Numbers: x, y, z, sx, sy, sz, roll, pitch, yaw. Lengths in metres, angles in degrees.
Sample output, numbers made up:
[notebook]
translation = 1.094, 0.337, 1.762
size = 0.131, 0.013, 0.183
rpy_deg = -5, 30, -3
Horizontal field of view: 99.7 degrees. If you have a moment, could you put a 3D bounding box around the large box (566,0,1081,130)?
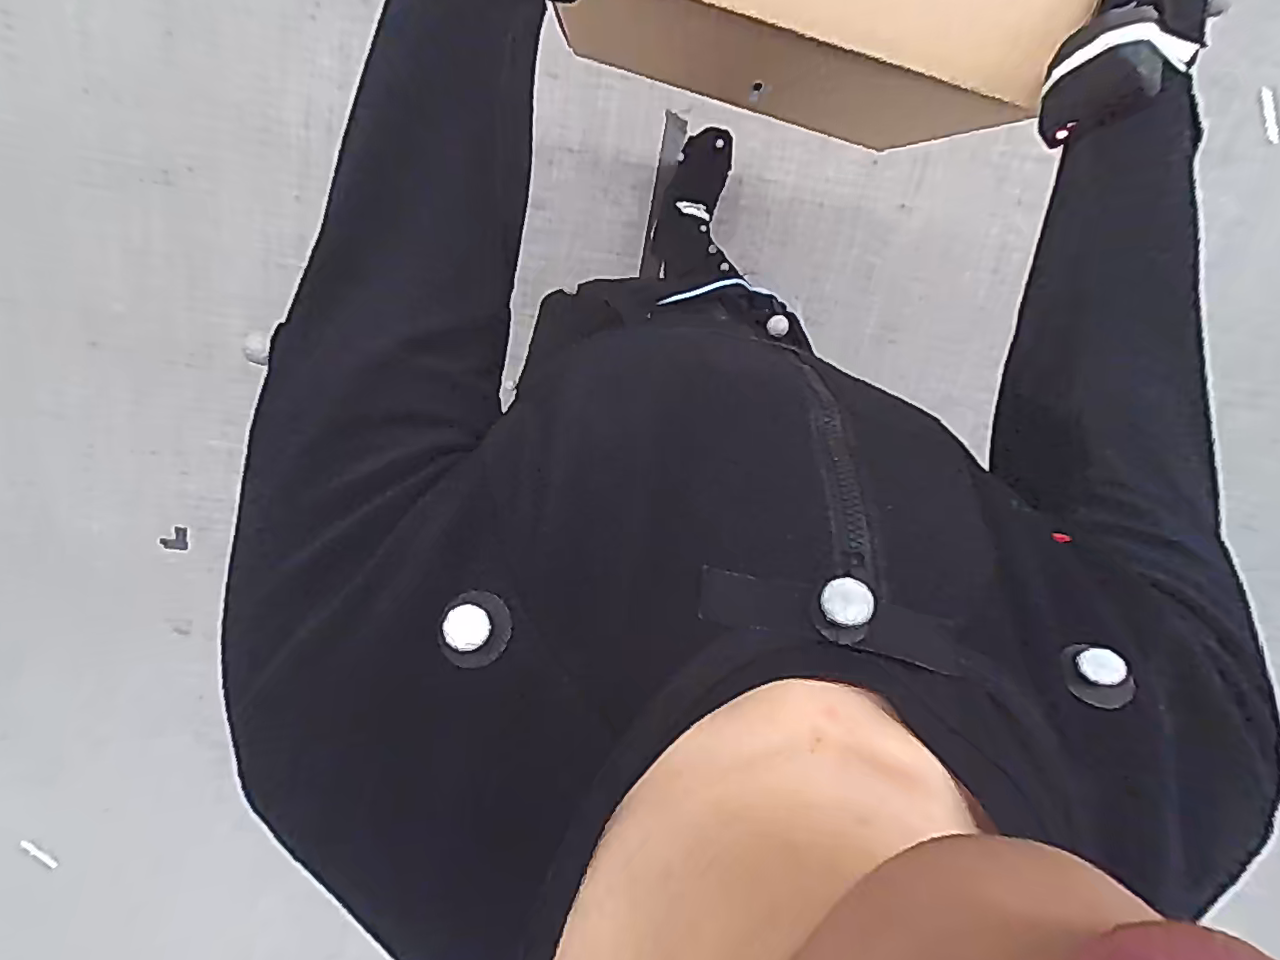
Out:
[large box]
translation = 0.156, -0.543, 0.466
size = 0.408, 0.320, 0.320
rpy_deg = 13, 115, -7
